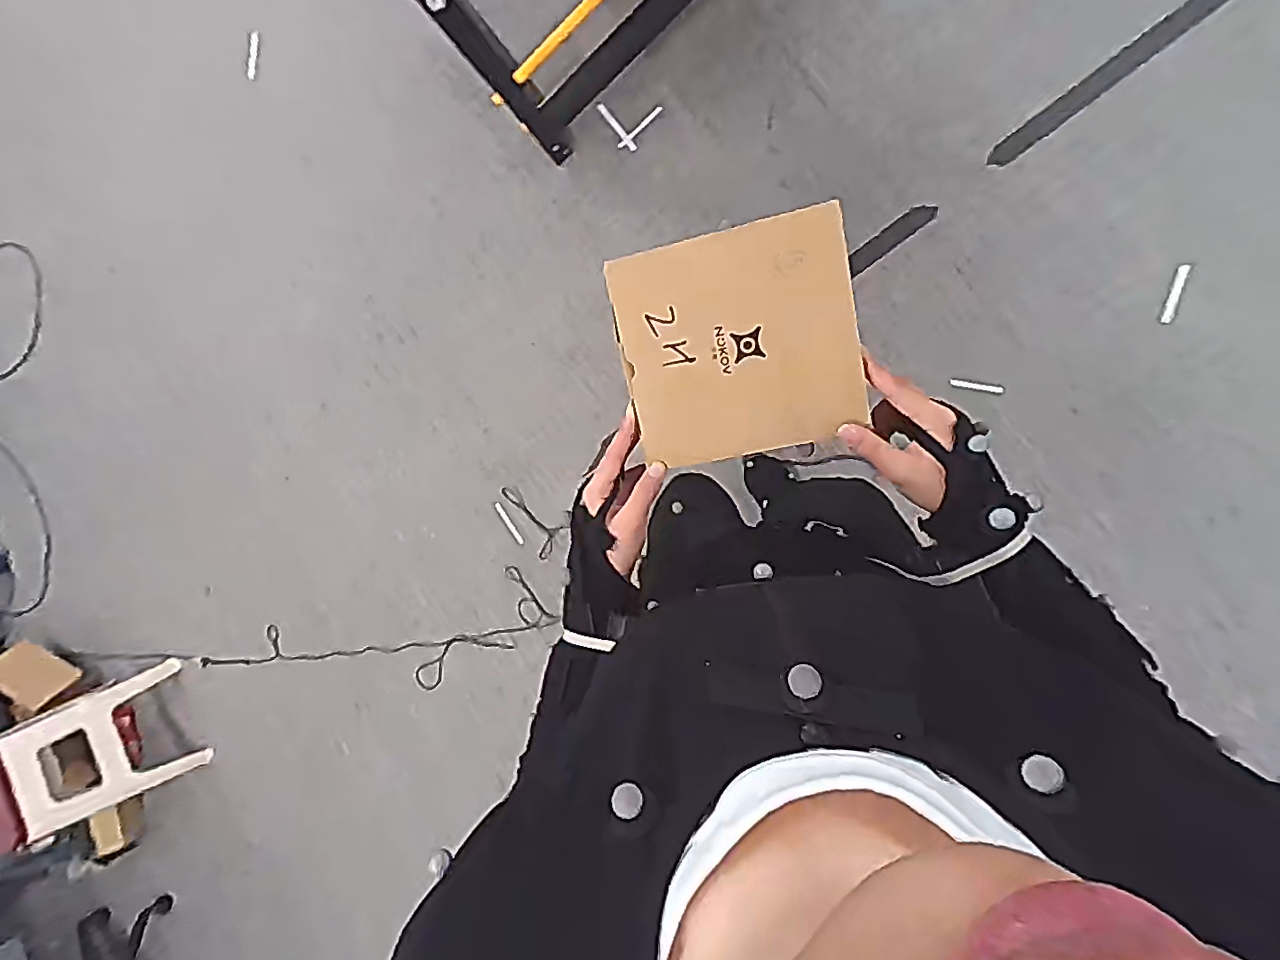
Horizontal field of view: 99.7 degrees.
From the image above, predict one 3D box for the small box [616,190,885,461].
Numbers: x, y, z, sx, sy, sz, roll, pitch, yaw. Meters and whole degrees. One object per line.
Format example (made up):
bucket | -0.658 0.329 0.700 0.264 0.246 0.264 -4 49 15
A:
small box | 0.091 -0.122 0.469 0.179 0.176 0.168 -9 100 11
